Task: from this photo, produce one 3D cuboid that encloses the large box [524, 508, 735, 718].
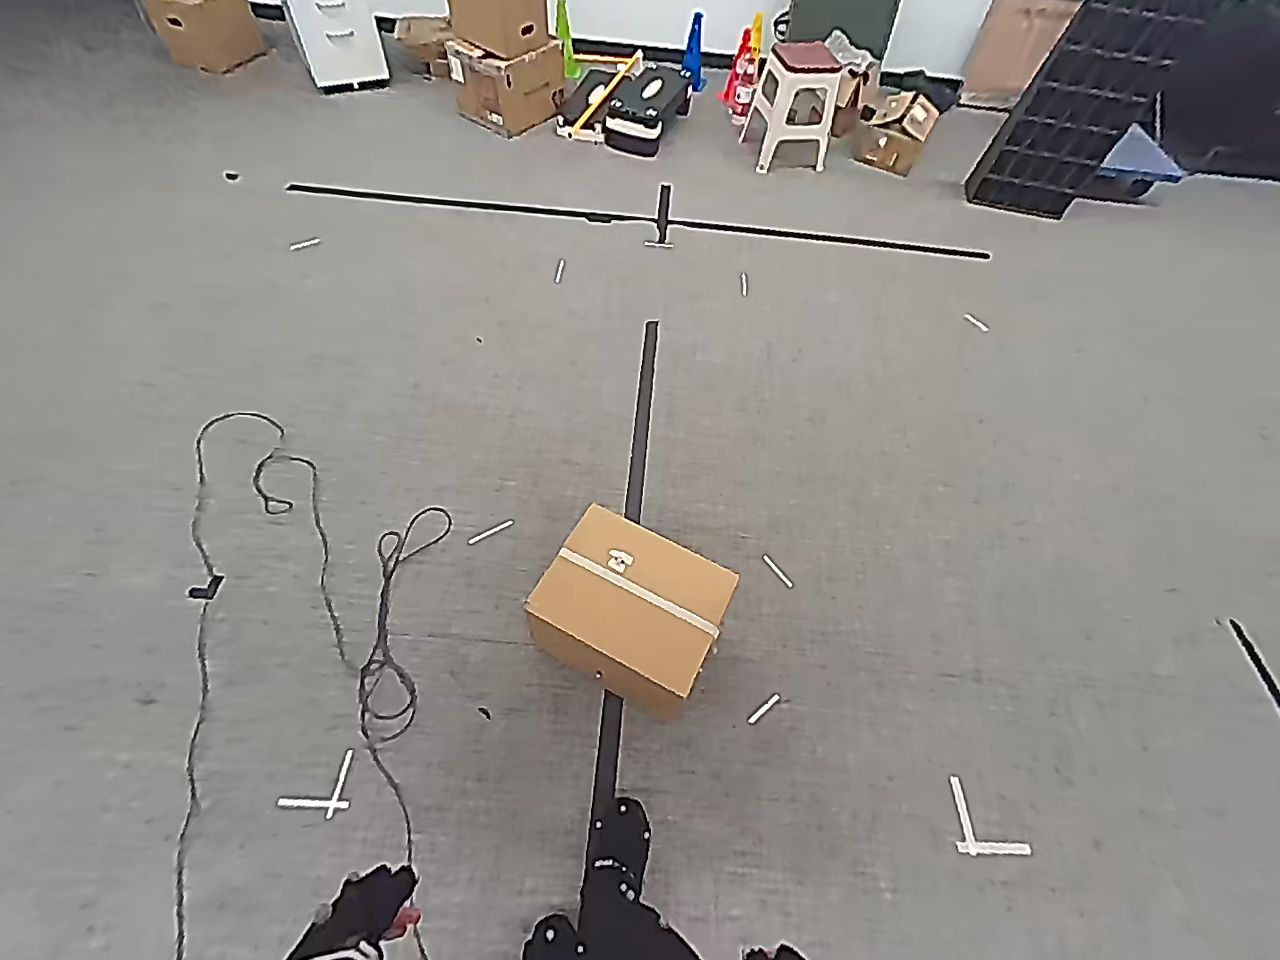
[{"bbox_3d":[-0.023,0.339,1.362,0.408,0.320,0.320,25,58,12],"label":"large box"}]
